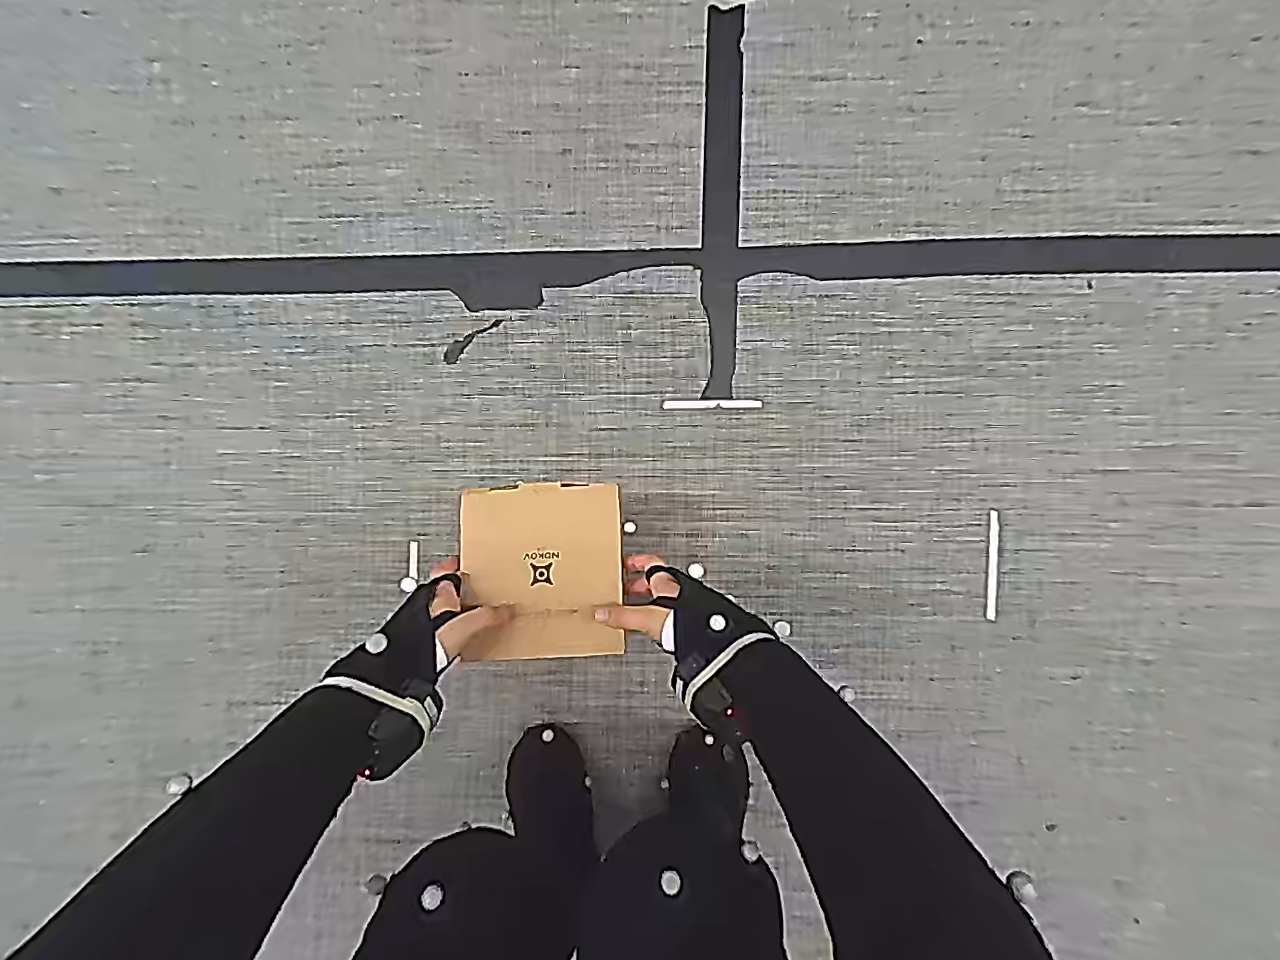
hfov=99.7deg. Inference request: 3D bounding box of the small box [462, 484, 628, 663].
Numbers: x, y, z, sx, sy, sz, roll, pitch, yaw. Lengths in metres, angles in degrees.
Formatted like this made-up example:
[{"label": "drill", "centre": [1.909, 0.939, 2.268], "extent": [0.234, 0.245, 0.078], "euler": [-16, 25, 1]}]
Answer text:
[{"label": "small box", "centre": [-0.100, 0.104, 0.629], "extent": [0.168, 0.176, 0.179], "euler": [-3, 83, 0]}]
